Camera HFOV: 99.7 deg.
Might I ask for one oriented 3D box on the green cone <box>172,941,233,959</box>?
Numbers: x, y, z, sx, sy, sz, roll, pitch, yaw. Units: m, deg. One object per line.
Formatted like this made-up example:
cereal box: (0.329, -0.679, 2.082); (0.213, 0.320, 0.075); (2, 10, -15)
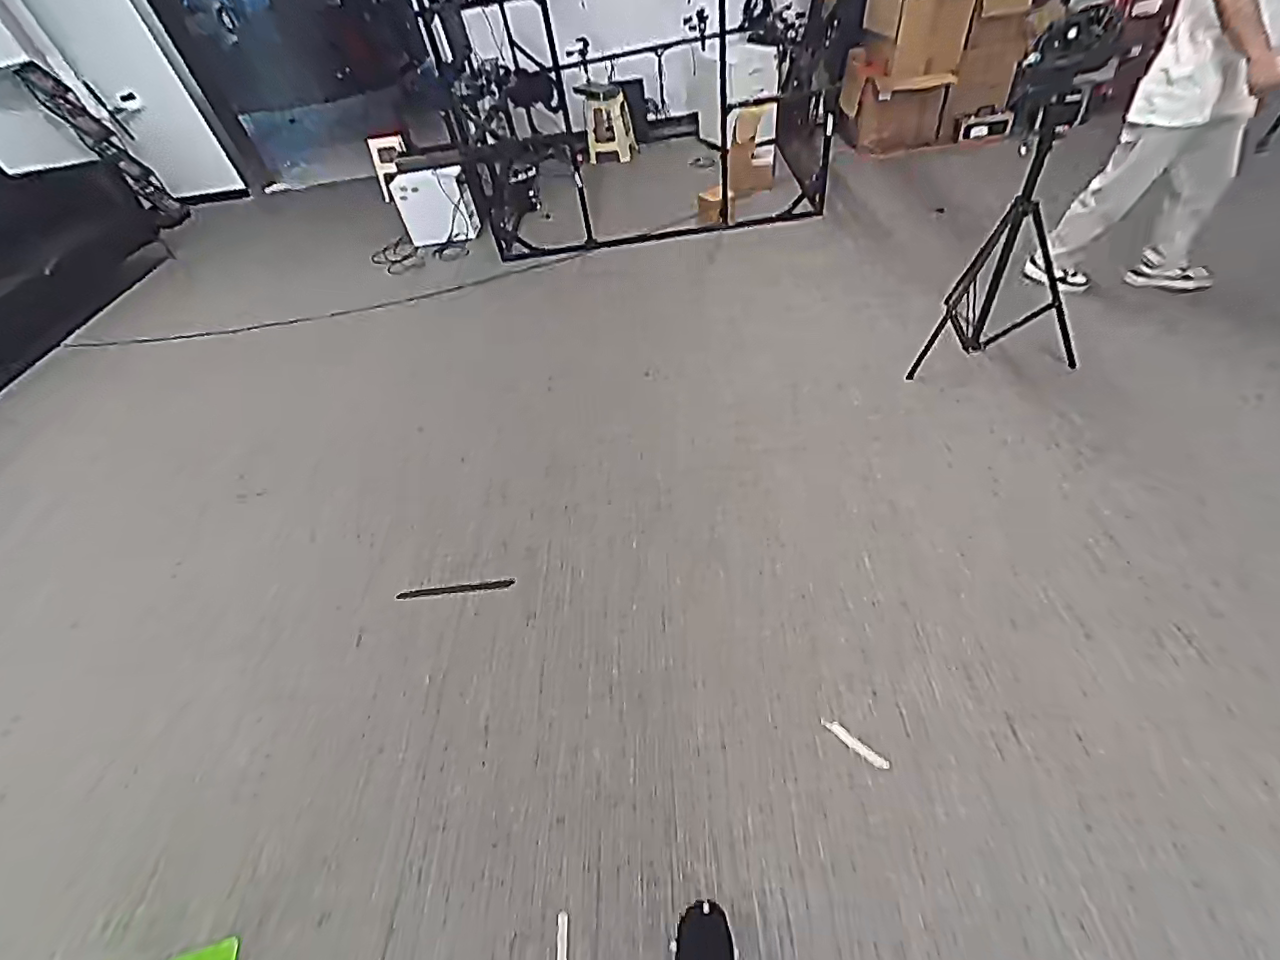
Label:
green cone: (-0.977, 0.982, 0.986); (0.202, 0.368, 0.200); (-16, 46, -7)
